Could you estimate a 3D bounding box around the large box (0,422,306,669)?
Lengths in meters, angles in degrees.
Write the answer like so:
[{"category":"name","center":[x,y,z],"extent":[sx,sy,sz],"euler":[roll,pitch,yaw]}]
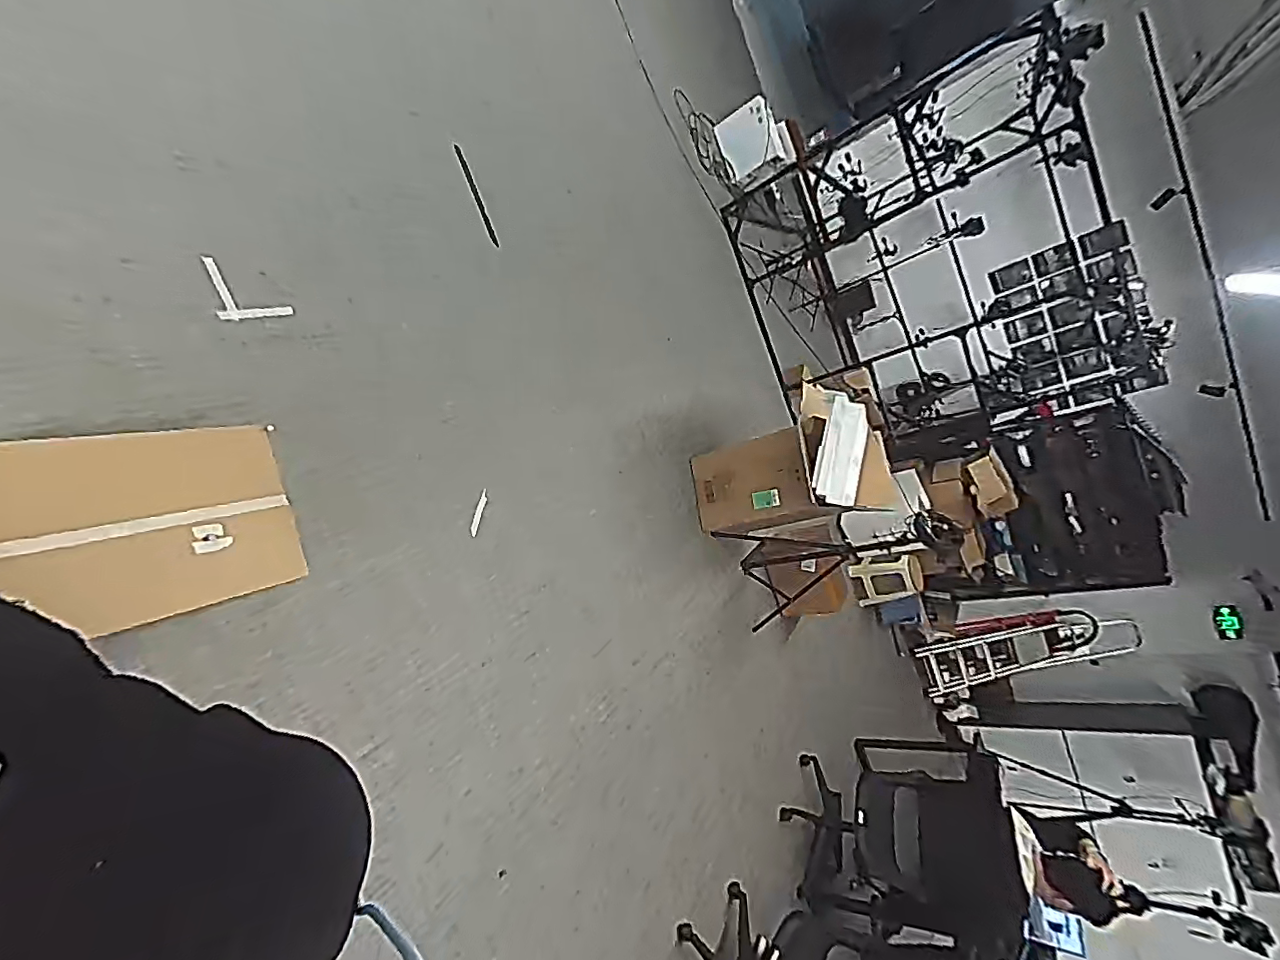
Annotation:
[{"category":"large box","center":[-0.921,0.105,0.978],"extent":[0.408,0.320,0.320],"euler":[-17,91,-55]}]
